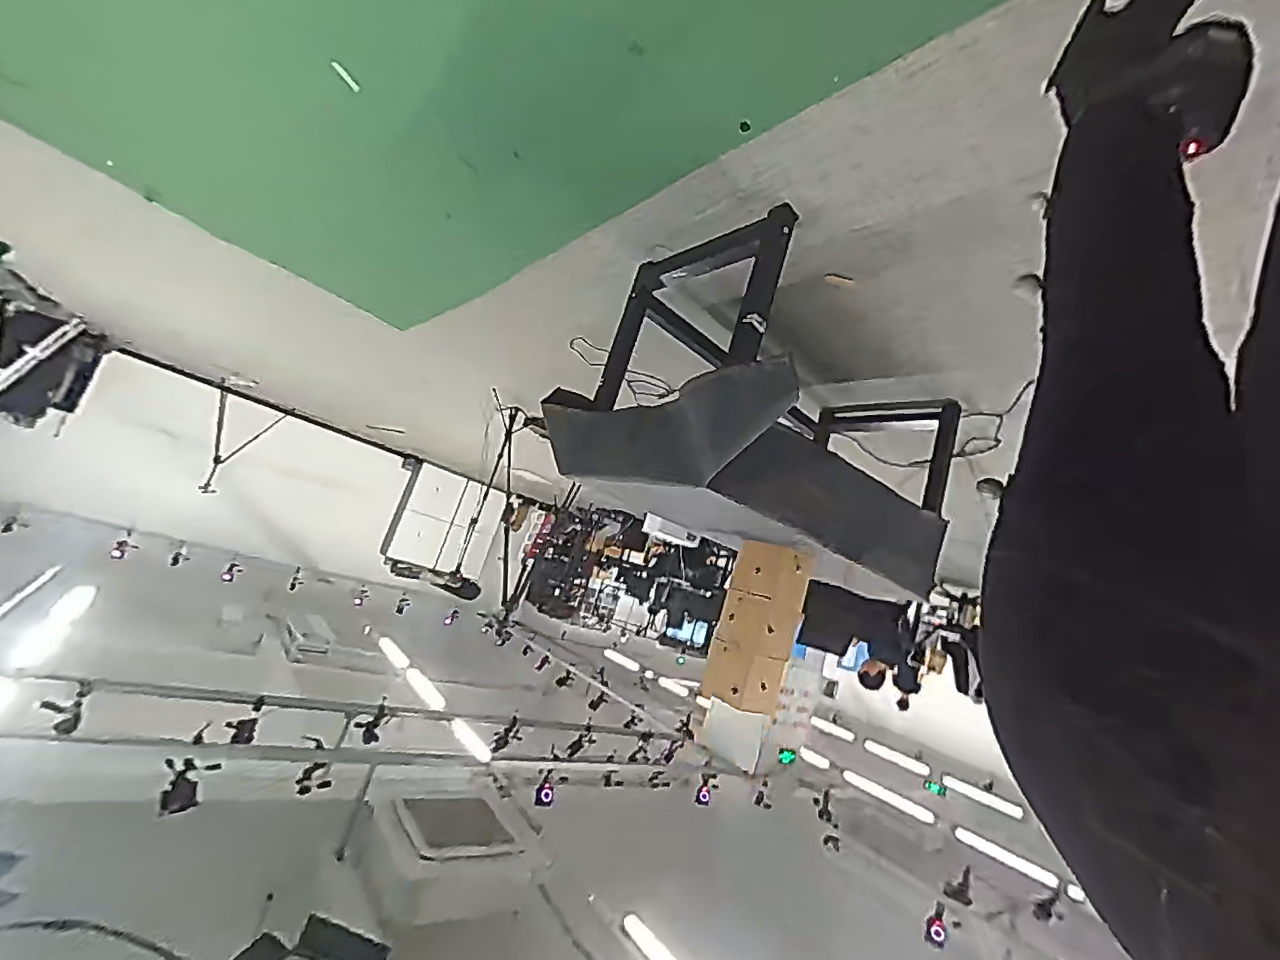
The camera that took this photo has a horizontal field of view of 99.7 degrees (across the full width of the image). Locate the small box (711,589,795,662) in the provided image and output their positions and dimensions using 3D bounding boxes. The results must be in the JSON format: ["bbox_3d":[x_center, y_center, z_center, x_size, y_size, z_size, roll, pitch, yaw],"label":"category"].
[{"bbox_3d":[0.355,0.449,1.688,0.179,0.176,0.168,26,168,-35],"label":"small box"}]

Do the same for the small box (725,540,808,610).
[{"bbox_3d":[0.404,0.296,1.714,0.168,0.176,0.179,26,166,-38],"label":"small box"}]
